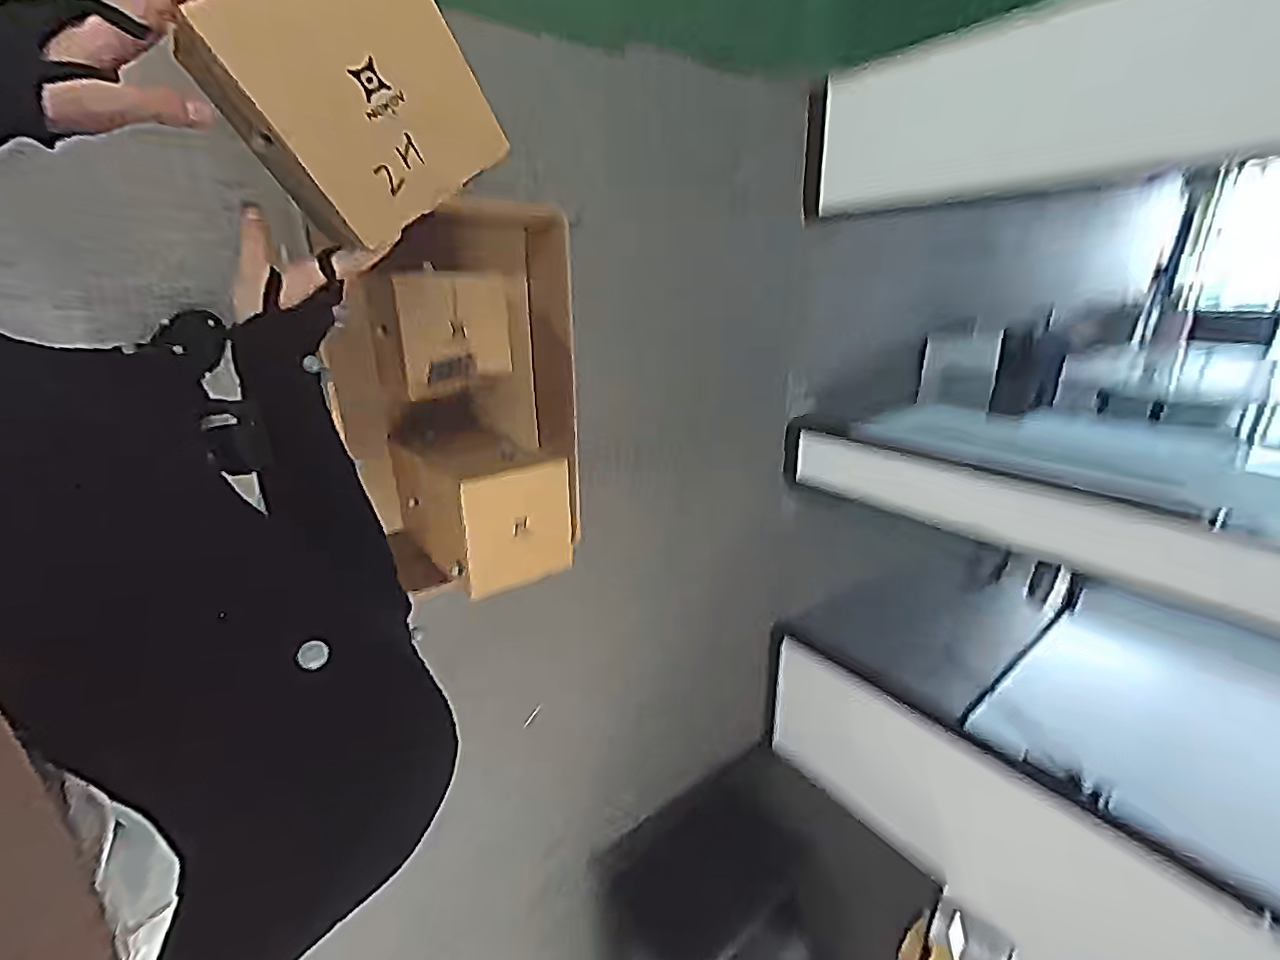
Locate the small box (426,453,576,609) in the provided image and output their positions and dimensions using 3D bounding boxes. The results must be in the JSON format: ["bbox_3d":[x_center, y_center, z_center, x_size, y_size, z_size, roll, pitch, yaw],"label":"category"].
[{"bbox_3d":[-0.213,0.063,0.824,0.168,0.176,0.179,-14,114,-36],"label":"small box"}]
